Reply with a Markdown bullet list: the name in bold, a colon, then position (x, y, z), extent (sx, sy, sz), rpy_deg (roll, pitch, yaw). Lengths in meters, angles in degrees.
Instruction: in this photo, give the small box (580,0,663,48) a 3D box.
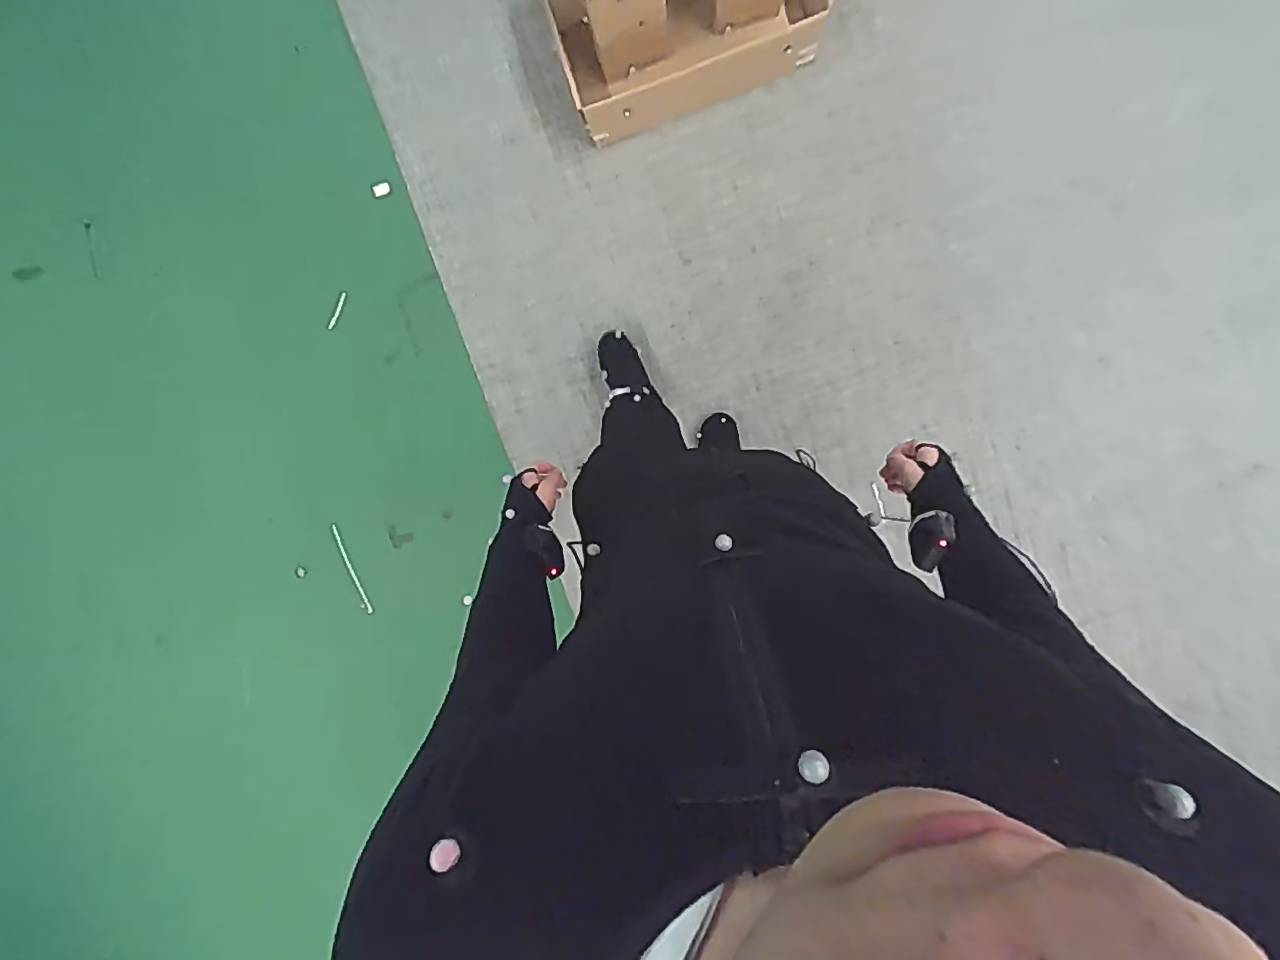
- **small box**: position (-0.057, -1.077, 1.138), extent (0.168, 0.176, 0.179), rpy_deg (-20, 97, 9)
